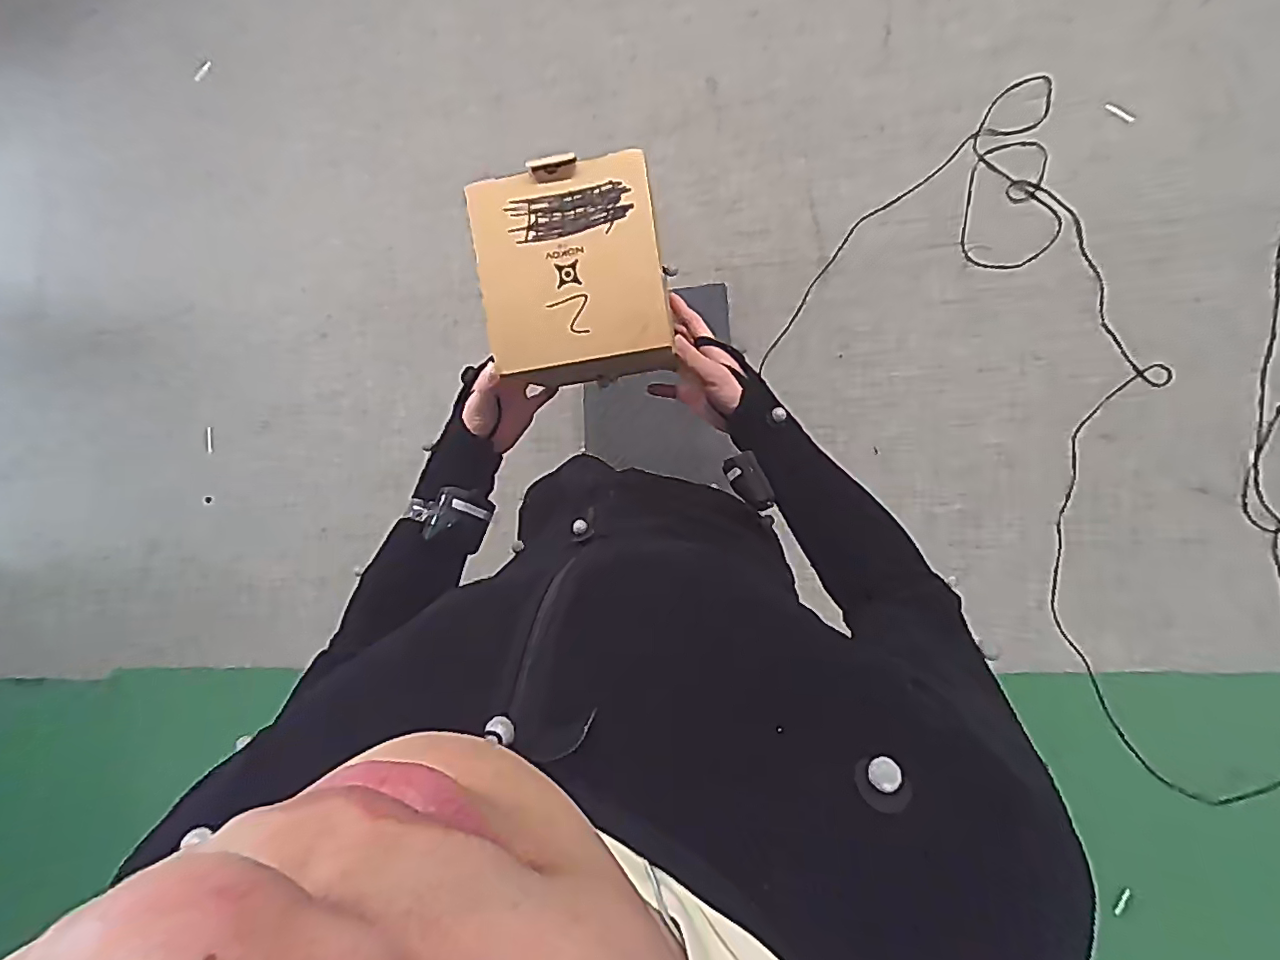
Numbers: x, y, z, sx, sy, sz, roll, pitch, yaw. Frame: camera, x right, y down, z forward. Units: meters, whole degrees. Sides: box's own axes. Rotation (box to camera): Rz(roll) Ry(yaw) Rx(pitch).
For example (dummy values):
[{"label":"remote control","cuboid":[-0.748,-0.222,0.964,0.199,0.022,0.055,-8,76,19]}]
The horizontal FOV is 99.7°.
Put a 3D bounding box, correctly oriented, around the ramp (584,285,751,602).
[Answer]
[{"label":"ramp","cuboid":[0.067,-0.130,1.709,0.509,0.206,0.991,-6,89,10]}]
